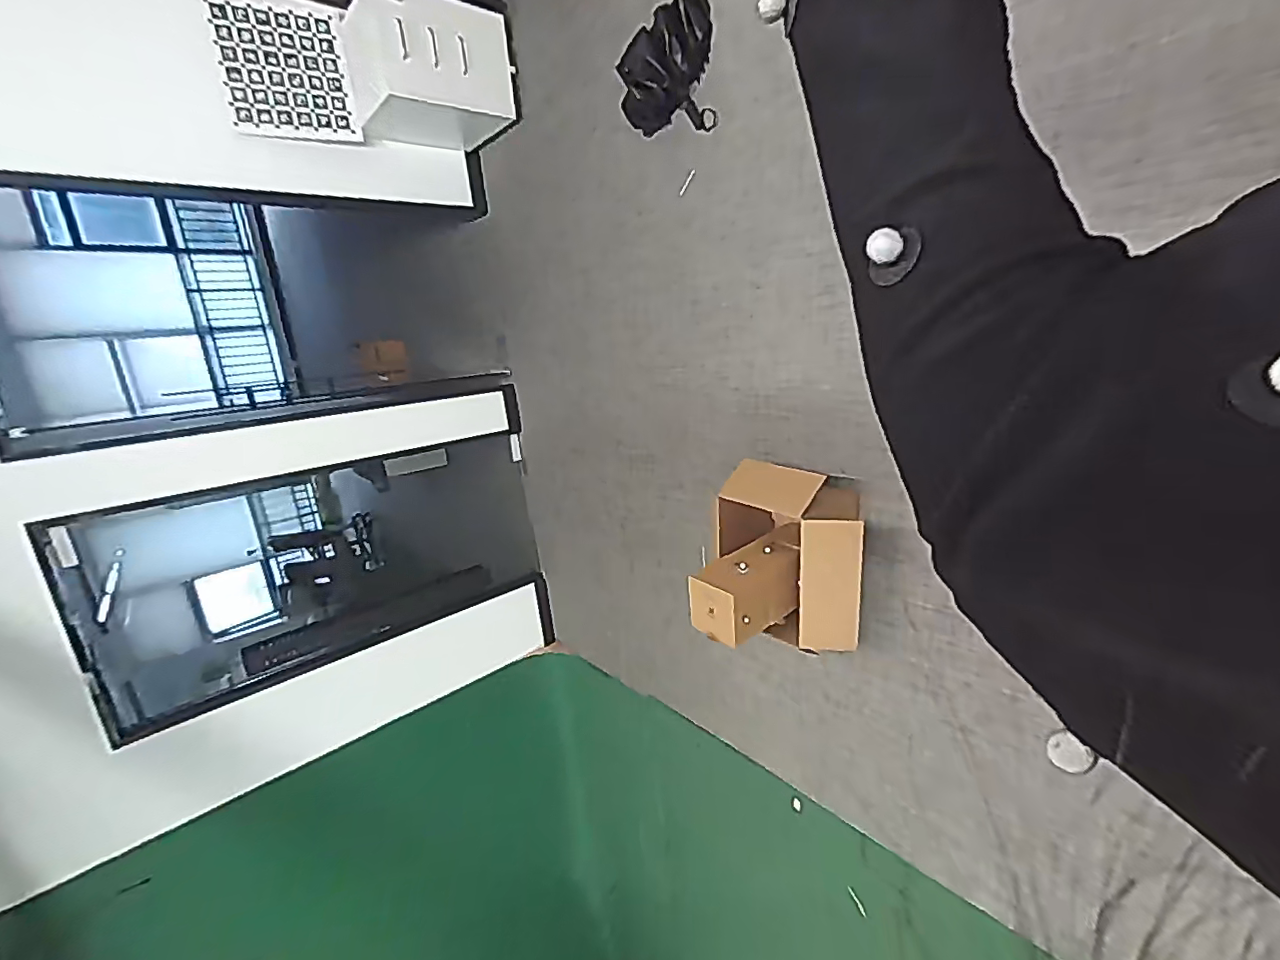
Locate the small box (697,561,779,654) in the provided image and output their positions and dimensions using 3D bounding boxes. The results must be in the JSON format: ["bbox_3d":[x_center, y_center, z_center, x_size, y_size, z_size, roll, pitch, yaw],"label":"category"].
[{"bbox_3d":[0.284,0.357,1.548,0.168,0.176,0.179,14,116,47],"label":"small box"}]
